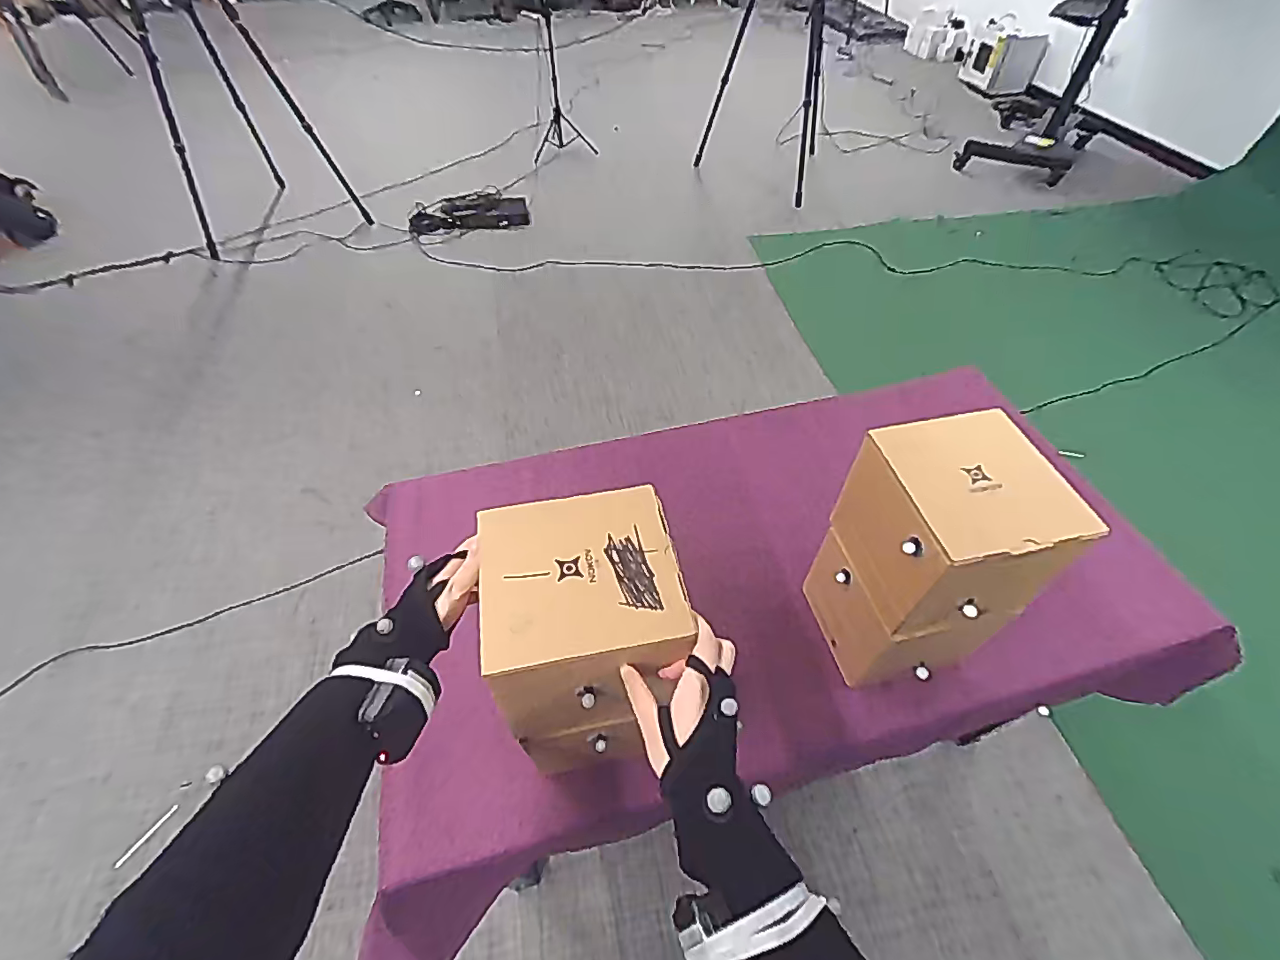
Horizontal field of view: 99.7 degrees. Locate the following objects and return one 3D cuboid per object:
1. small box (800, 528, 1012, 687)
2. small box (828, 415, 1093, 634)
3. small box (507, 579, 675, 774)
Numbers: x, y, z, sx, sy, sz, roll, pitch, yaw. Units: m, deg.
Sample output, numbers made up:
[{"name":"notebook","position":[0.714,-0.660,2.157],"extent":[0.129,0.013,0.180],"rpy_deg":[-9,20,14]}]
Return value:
[{"name":"small box","position":[0.346,0.164,0.745],"extent":[0.179,0.176,0.168],"rpy_deg":[-10,51,-8]},{"name":"small box","position":[0.342,0.052,0.625],"extent":[0.168,0.176,0.179],"rpy_deg":[-10,52,-7]},{"name":"small box","position":[-0.060,0.249,0.676],"extent":[0.179,0.176,0.168],"rpy_deg":[-9,52,-8]}]
